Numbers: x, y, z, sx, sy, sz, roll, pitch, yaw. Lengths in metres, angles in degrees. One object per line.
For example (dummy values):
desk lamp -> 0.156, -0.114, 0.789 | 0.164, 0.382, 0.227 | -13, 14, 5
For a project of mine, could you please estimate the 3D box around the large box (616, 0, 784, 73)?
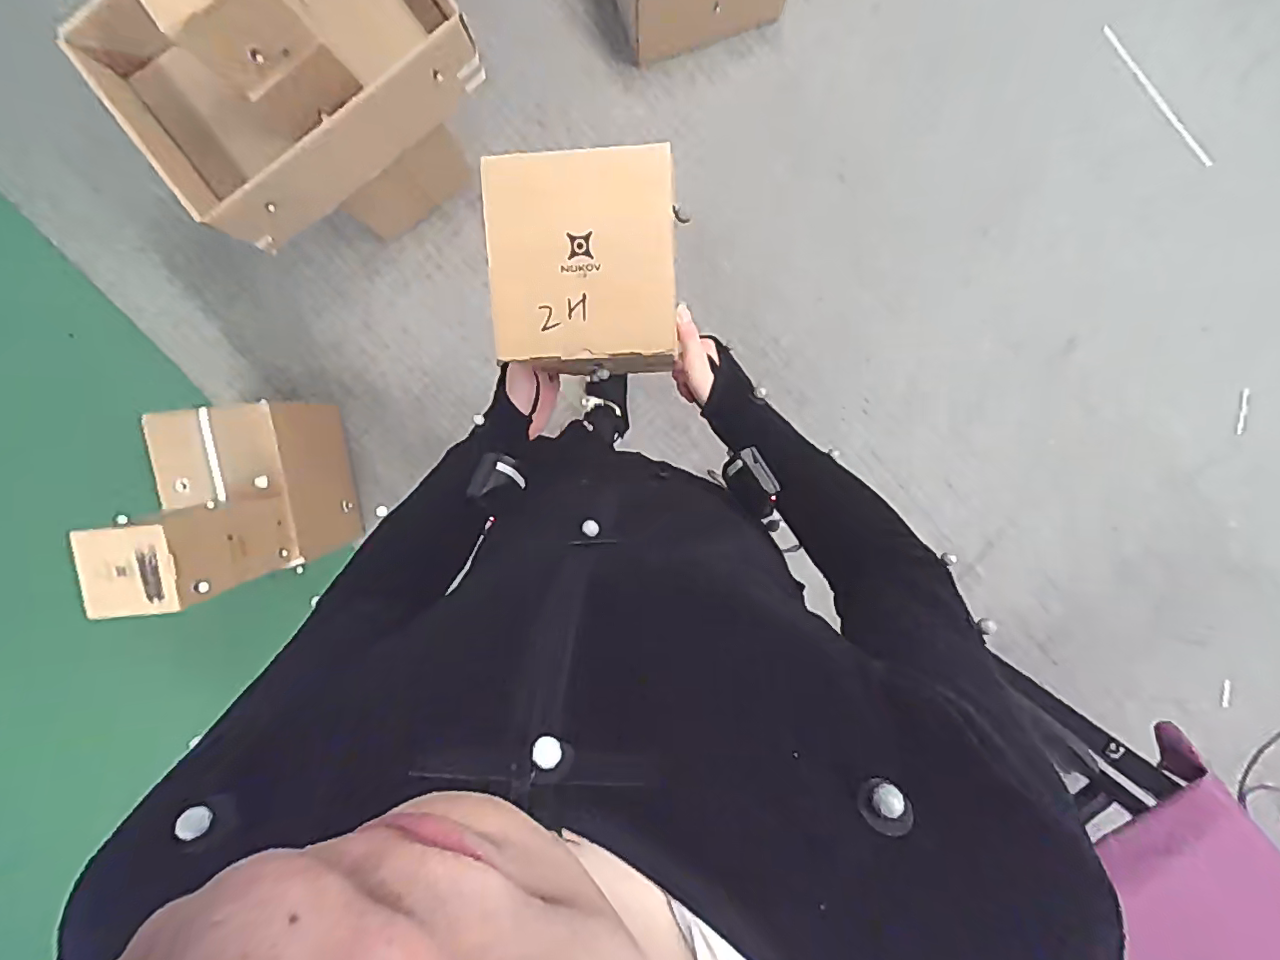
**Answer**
large box -> 0.135, -1.283, 1.290 | 0.408, 0.320, 0.320 | -19, 97, 3

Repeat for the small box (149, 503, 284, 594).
small box -> -0.937, 0.147, 1.219 | 0.179, 0.176, 0.168 | -4, 96, 0

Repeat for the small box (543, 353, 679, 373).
small box -> -0.034, -0.236, 0.713 | 0.168, 0.176, 0.179 | -1, 99, 4

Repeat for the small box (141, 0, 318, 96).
small box -> -0.657, -0.758, 0.839 | 0.168, 0.176, 0.179 | -34, 97, 5

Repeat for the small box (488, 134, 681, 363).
small box -> -0.043, -0.215, 0.547 | 0.168, 0.176, 0.179 | -1, 99, 5
